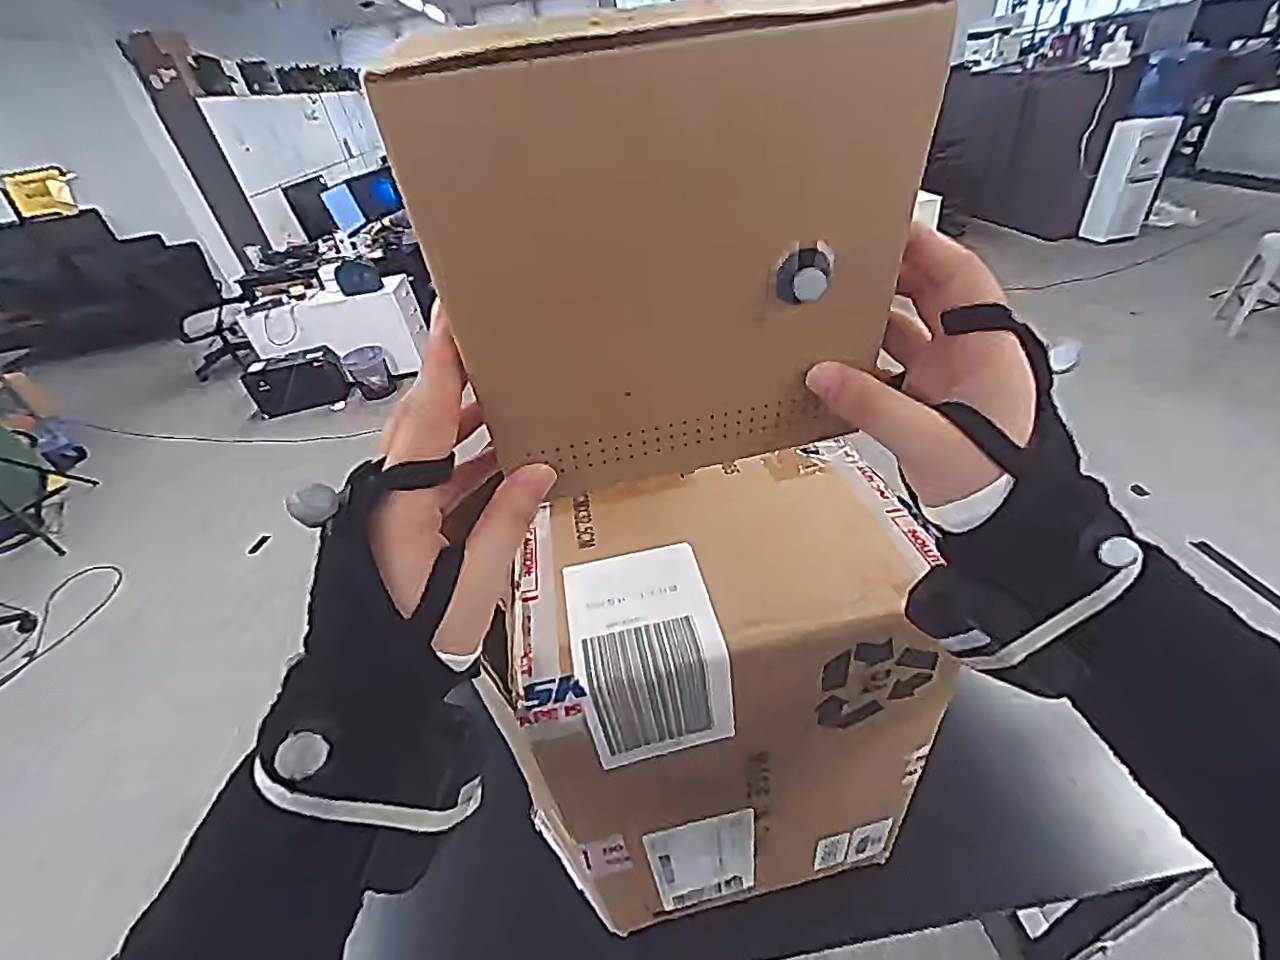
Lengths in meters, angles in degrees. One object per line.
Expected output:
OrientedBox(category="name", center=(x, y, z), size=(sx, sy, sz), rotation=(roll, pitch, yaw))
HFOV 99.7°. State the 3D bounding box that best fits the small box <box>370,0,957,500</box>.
OrientedBox(category="small box", center=(0.002, -0.115, 0.263), size=(0.179, 0.176, 0.168), rotation=(-13, 43, -5))
